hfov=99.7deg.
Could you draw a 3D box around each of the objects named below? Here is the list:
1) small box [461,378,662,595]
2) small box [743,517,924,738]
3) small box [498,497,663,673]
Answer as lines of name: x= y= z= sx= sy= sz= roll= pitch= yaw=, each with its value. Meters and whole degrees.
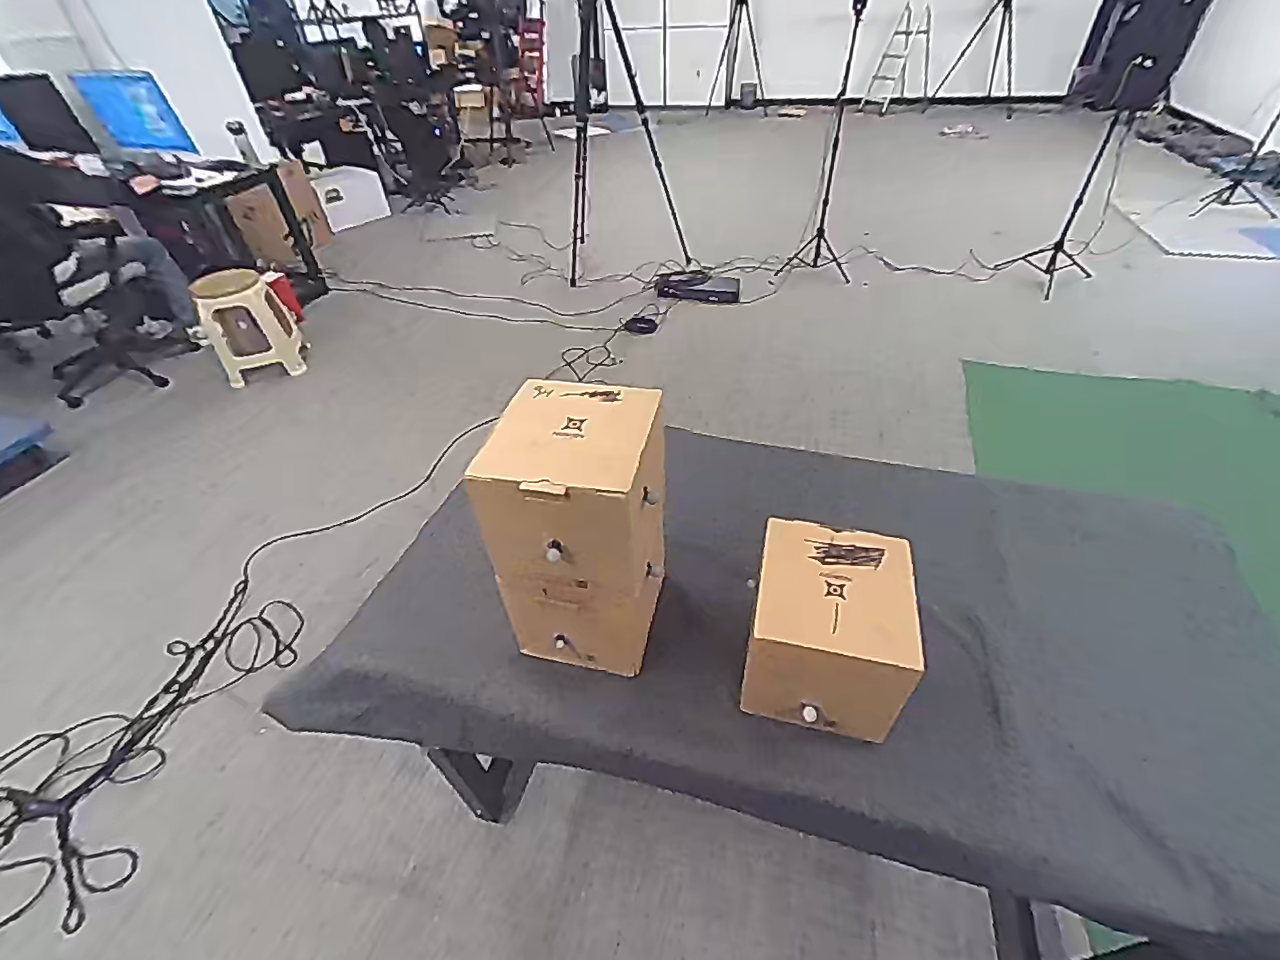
small box: x=-0.069 y=0.007 z=0.610 sx=0.168 sy=0.176 sz=0.179 roll=7 pitch=44 yaw=10
small box: x=0.219 y=0.173 z=0.647 sx=0.168 sy=0.176 sz=0.179 roll=8 pitch=43 yaw=13
small box: x=-0.067 y=0.125 z=0.723 sx=0.168 sy=0.176 sz=0.179 roll=8 pitch=44 yaw=11
